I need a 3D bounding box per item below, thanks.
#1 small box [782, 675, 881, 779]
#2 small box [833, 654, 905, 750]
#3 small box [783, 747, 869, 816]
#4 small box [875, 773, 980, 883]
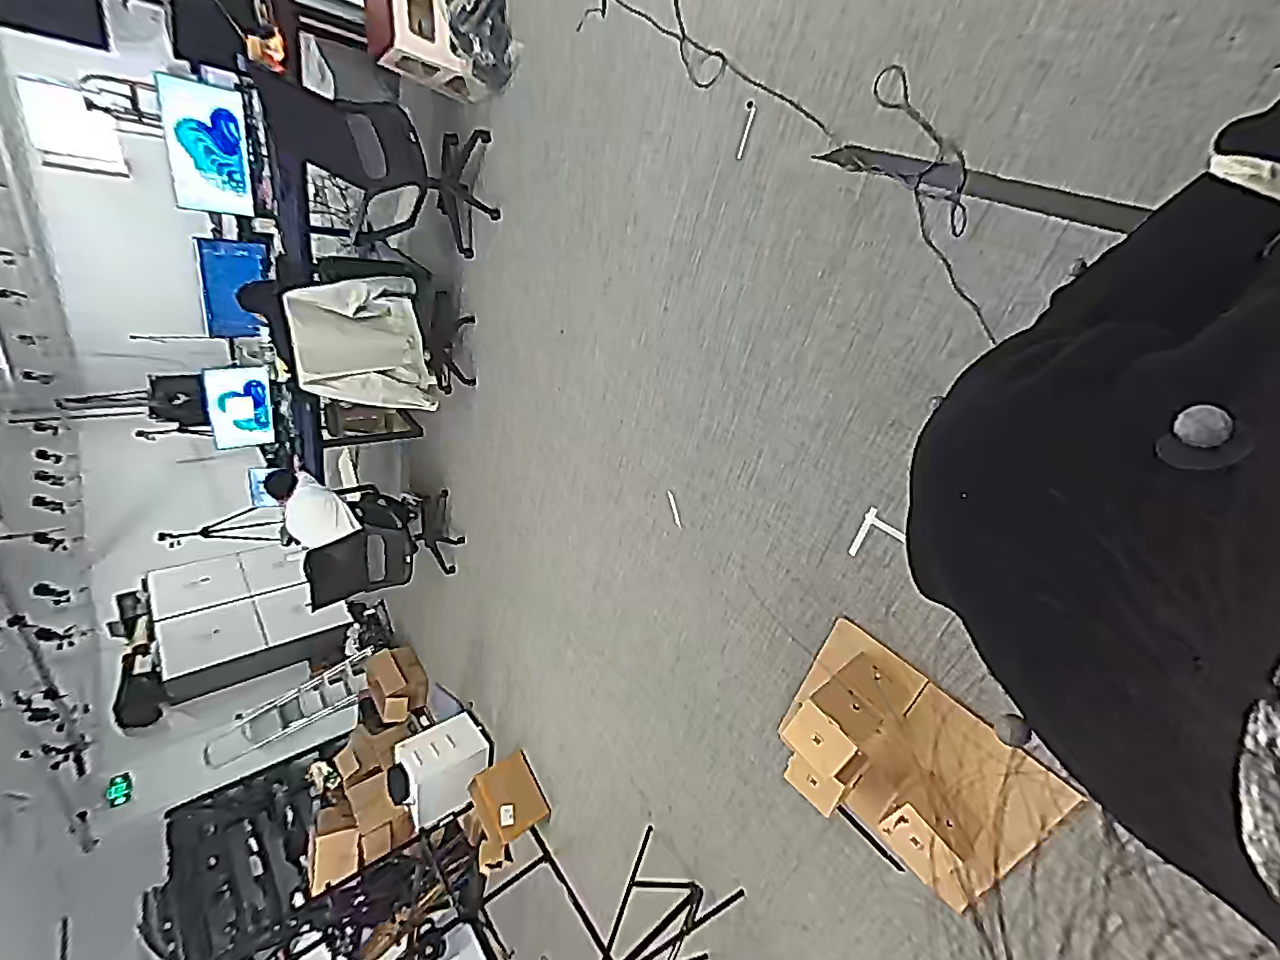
[{"bbox_3d":[0.540,0.688,1.519,0.168,0.176,0.179,42,127,33],"label":"small box"},{"bbox_3d":[0.661,0.661,1.625,0.168,0.176,0.179,38,125,35],"label":"small box"},{"bbox_3d":[0.605,0.933,1.761,0.179,0.176,0.168,34,125,38],"label":"small box"},{"bbox_3d":[0.817,0.980,1.531,0.179,0.176,0.168,46,130,29],"label":"small box"}]
